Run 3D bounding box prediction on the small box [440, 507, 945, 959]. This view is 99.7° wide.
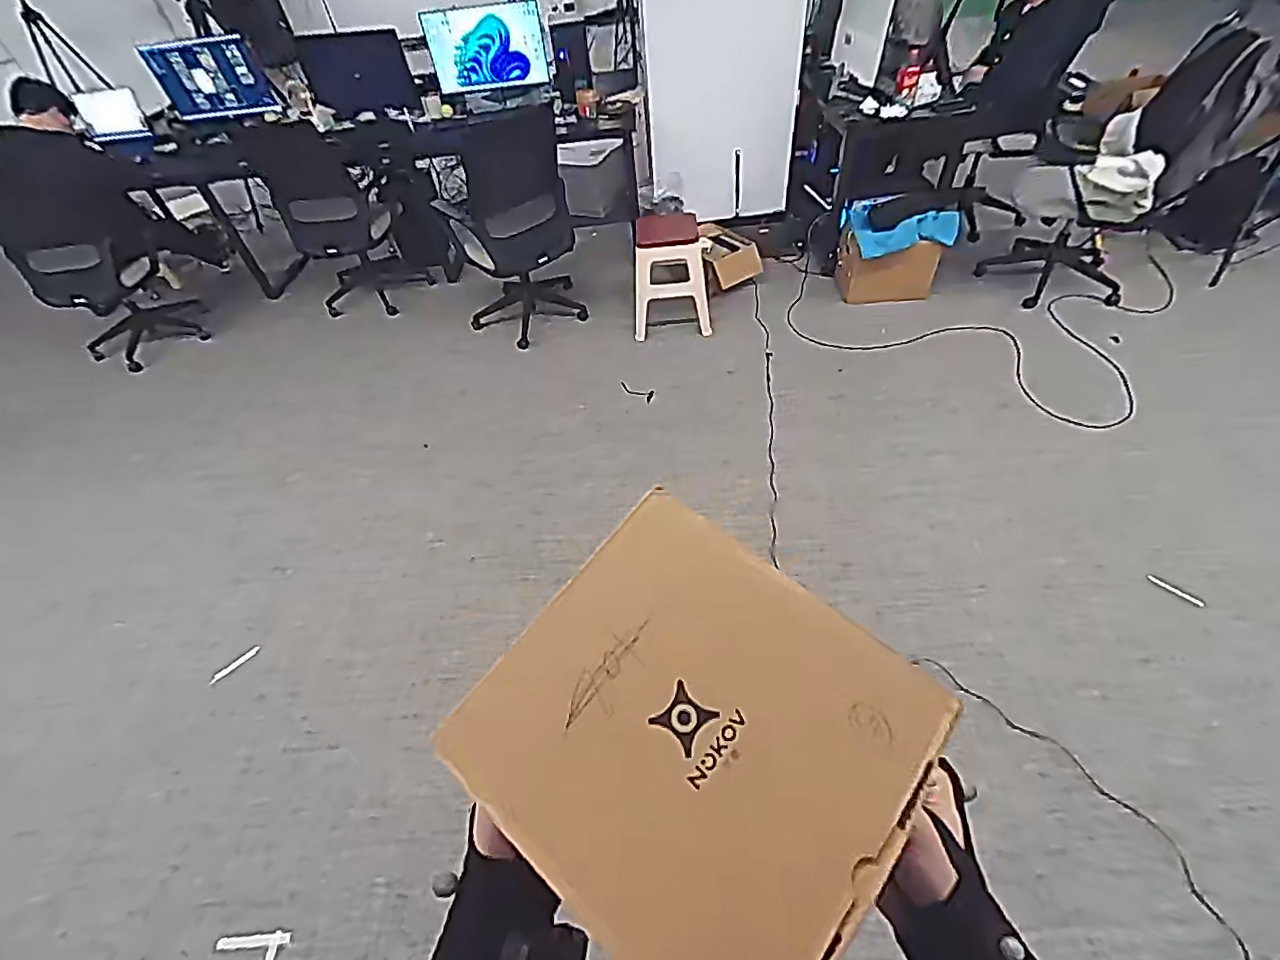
[{"bbox_3d":[0.029,0.152,0.318,0.179,0.176,0.168,34,69,21],"label":"small box"}]
